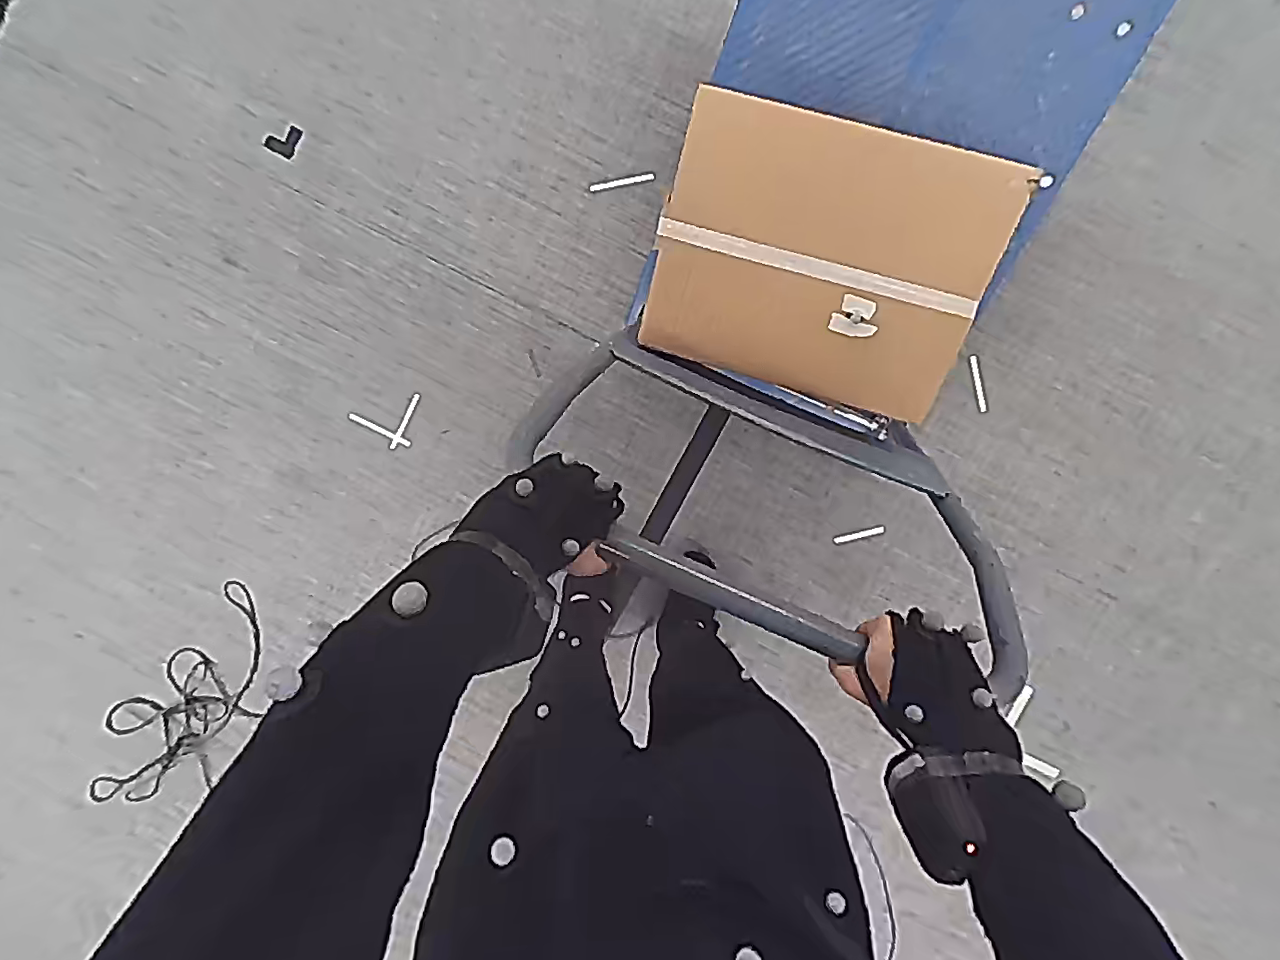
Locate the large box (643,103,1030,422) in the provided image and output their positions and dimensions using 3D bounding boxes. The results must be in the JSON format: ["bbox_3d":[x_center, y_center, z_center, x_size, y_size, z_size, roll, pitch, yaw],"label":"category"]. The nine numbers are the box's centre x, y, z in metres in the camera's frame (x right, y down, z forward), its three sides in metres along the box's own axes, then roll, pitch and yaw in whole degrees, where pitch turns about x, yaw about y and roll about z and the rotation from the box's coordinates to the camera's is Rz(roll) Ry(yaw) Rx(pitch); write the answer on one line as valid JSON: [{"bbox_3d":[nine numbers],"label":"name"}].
[{"bbox_3d":[0.248,-0.318,0.827,0.408,0.320,0.320,16,114,3],"label":"large box"}]
